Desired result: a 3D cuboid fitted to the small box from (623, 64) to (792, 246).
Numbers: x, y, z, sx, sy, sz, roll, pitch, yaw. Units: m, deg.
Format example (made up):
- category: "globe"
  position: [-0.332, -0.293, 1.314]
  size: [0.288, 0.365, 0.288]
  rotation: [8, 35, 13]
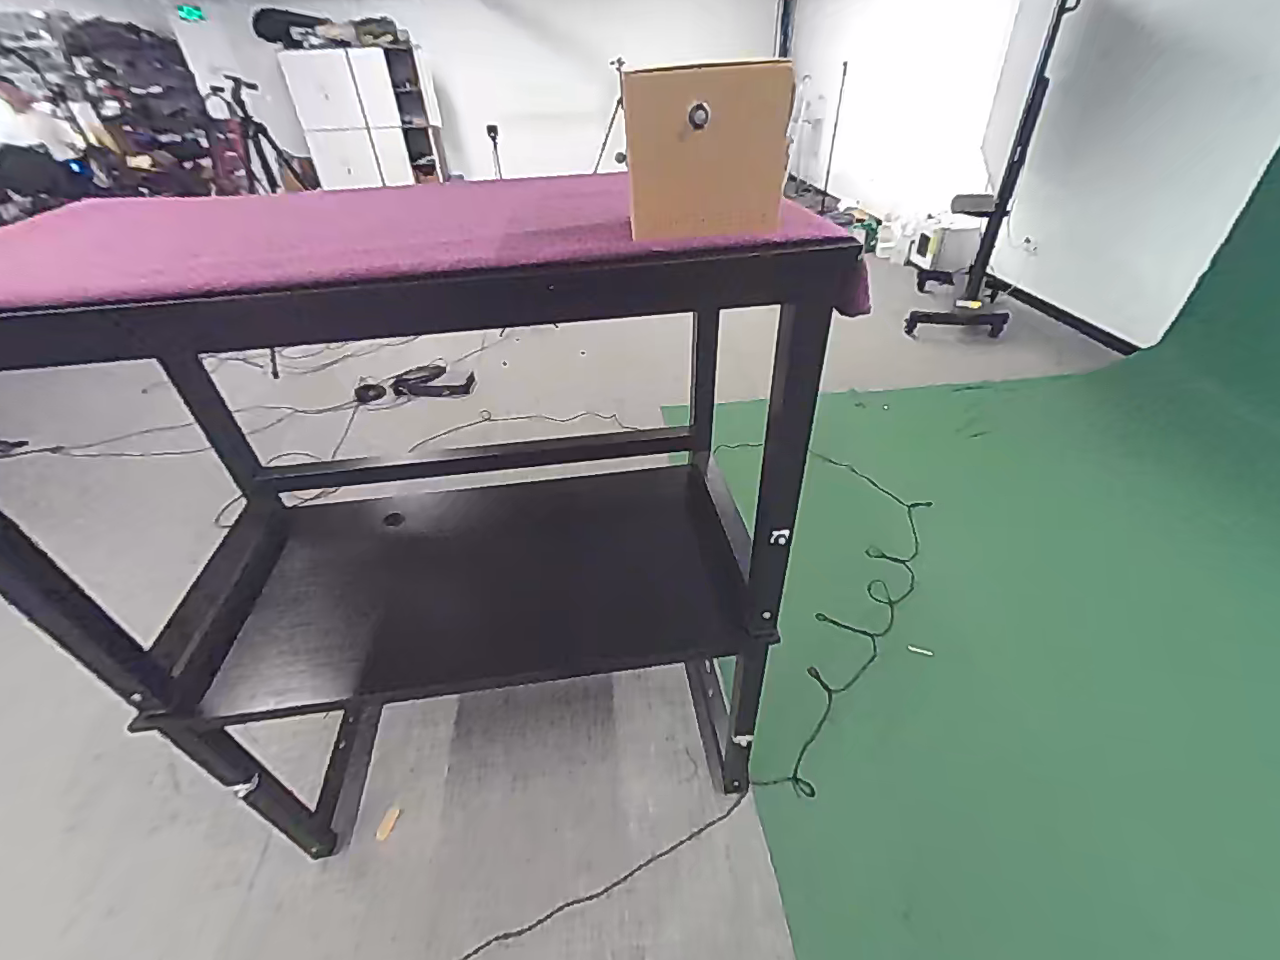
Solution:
- category: "small box"
  position: [0.073, -0.394, 0.659]
  size: [0.179, 0.176, 0.168]
  rotation: [-4, 39, 1]
